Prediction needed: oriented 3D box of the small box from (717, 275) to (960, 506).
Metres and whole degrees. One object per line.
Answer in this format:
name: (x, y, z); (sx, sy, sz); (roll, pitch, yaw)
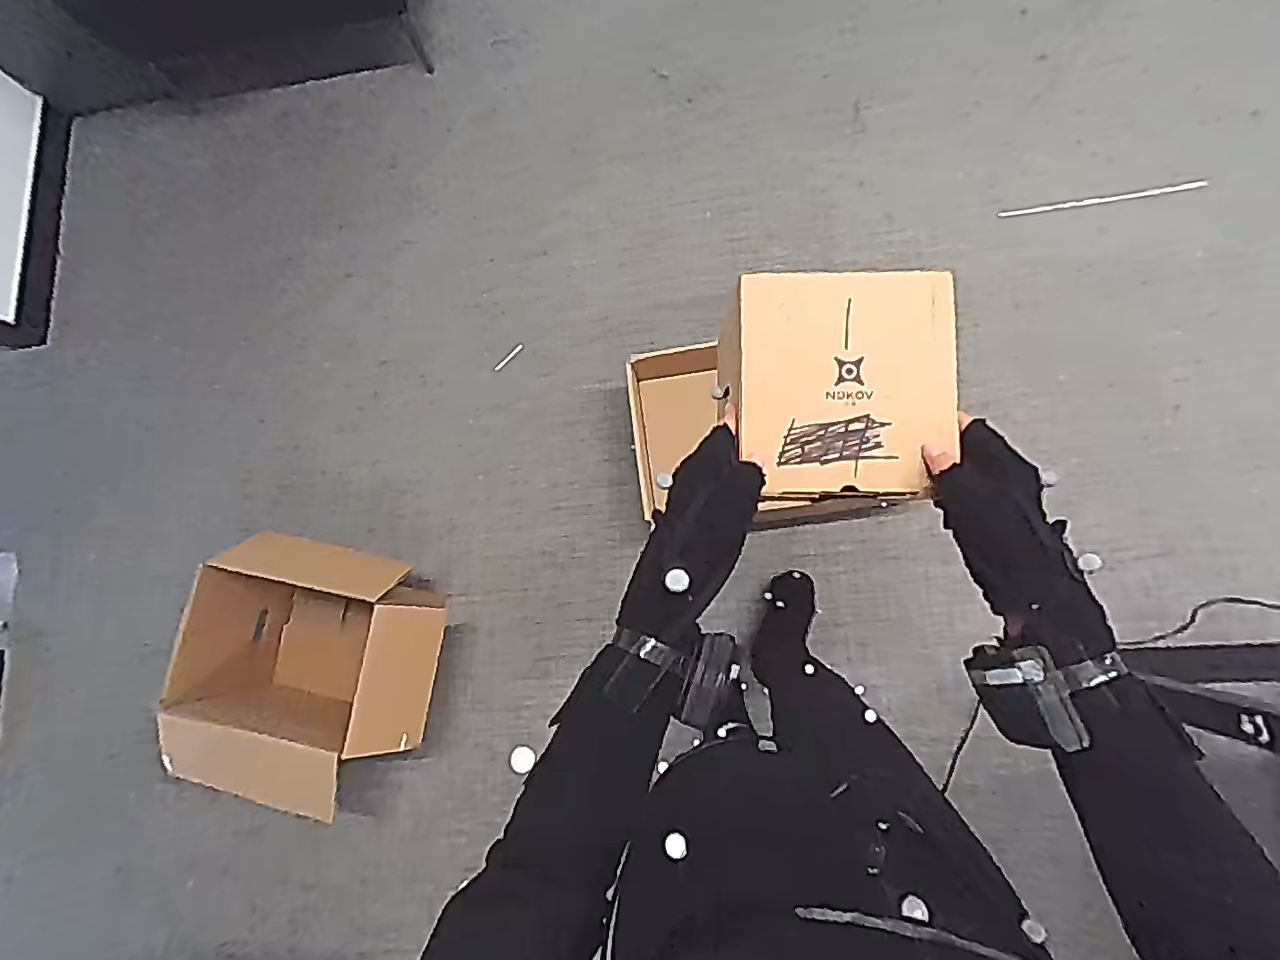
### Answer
small box: (0.162, -0.066, 0.492); (0.168, 0.176, 0.179); (1, 85, 2)
